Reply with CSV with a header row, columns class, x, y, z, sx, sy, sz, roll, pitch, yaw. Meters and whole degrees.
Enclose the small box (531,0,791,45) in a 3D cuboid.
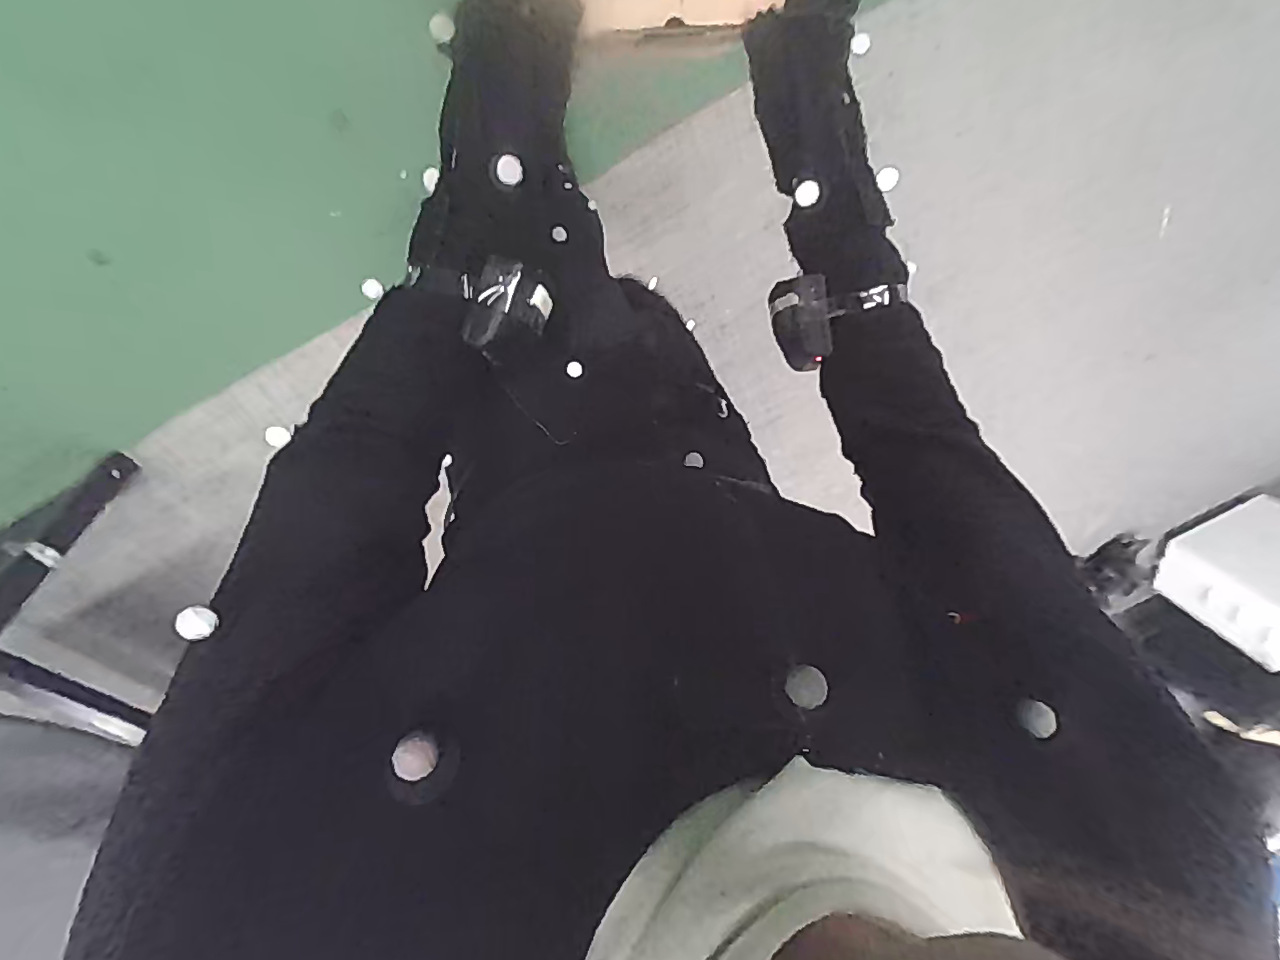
class,x,y,z,sx,sy,sz,roll,pitch,yaw
small box,0.002,-0.418,0.372,0.168,0.176,0.179,-10,124,-9
